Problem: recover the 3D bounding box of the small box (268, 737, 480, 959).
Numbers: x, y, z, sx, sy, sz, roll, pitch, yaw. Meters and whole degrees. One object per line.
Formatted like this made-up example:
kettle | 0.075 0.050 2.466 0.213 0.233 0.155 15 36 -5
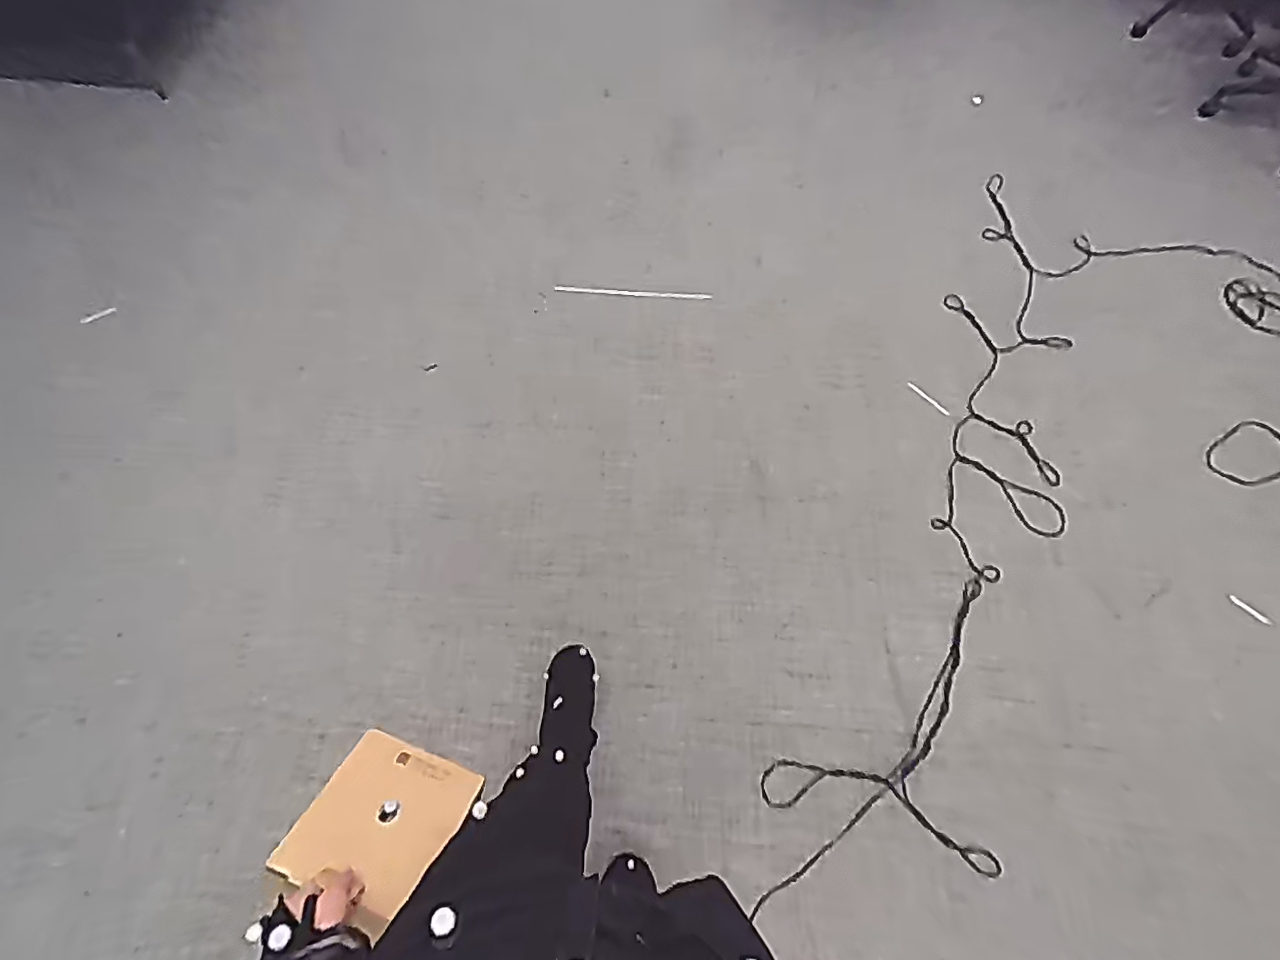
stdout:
small box | -0.315 0.456 0.665 0.168 0.179 0.176 22 31 3
